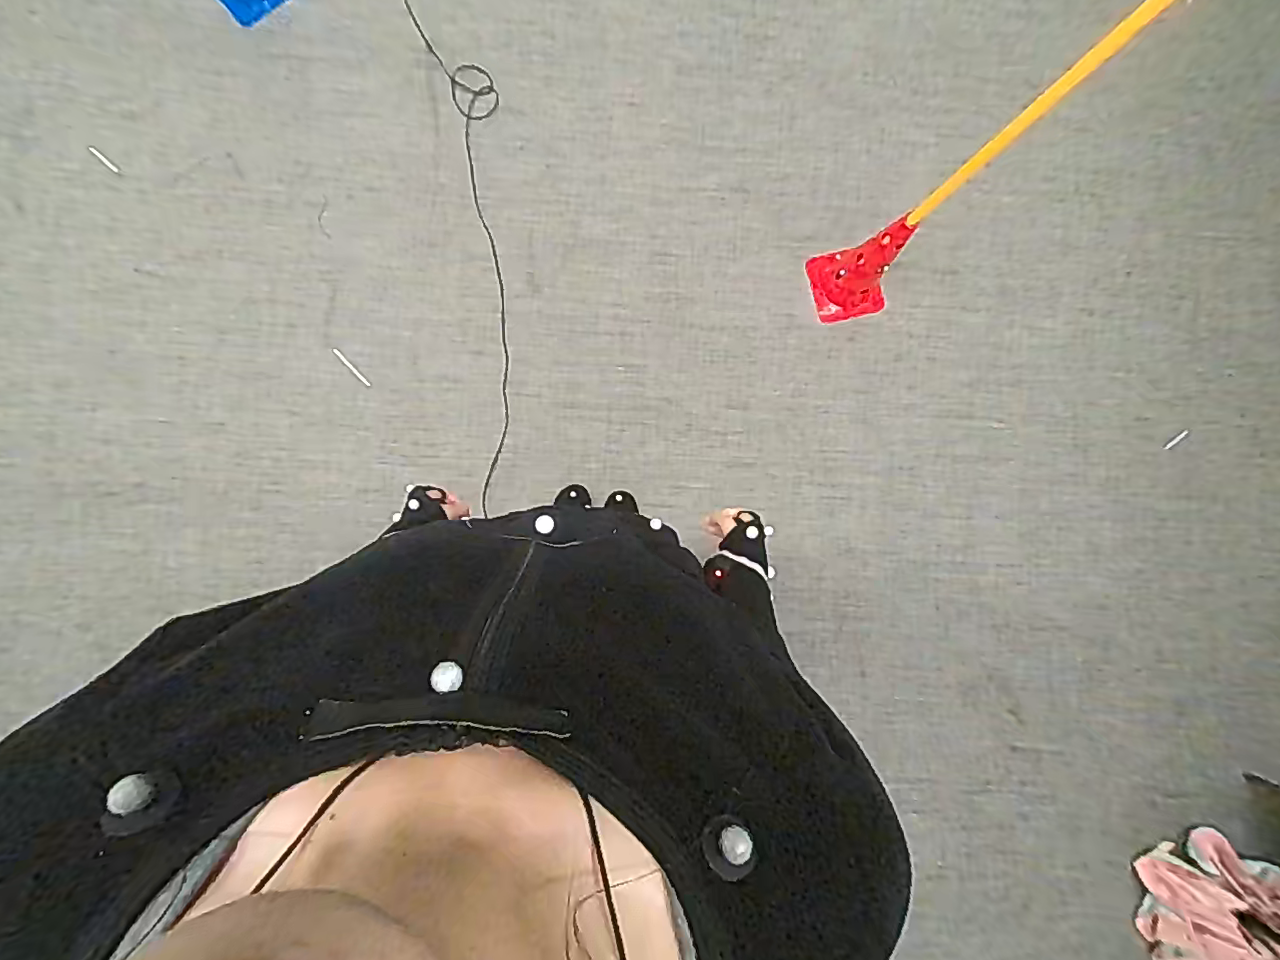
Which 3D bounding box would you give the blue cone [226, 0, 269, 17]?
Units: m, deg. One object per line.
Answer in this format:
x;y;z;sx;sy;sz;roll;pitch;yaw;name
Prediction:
-1.087;-1.400;1.336;0.193;0.380;0.192;-42;91;-1;blue cone
